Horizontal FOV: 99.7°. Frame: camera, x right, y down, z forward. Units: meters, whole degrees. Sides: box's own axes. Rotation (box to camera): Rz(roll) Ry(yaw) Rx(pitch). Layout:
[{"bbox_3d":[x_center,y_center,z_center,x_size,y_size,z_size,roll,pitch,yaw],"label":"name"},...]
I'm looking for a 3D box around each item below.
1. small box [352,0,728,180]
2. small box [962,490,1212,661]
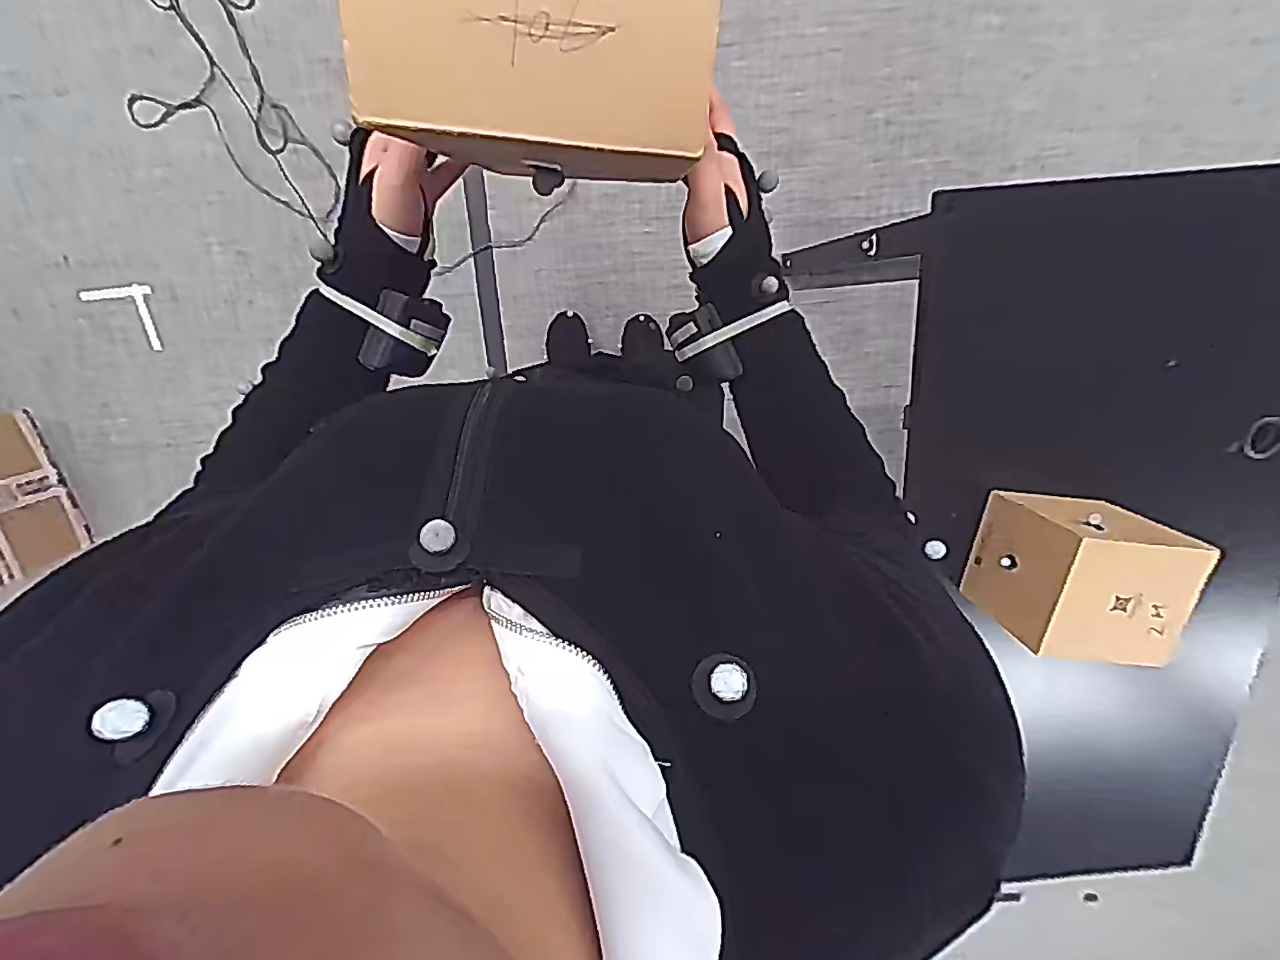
[{"bbox_3d":[-0.042,-0.275,0.294,0.168,0.176,0.179,4,116,-2],"label":"small box"},{"bbox_3d":[0.583,0.120,0.736,0.179,0.176,0.168,5,108,-5],"label":"small box"}]
